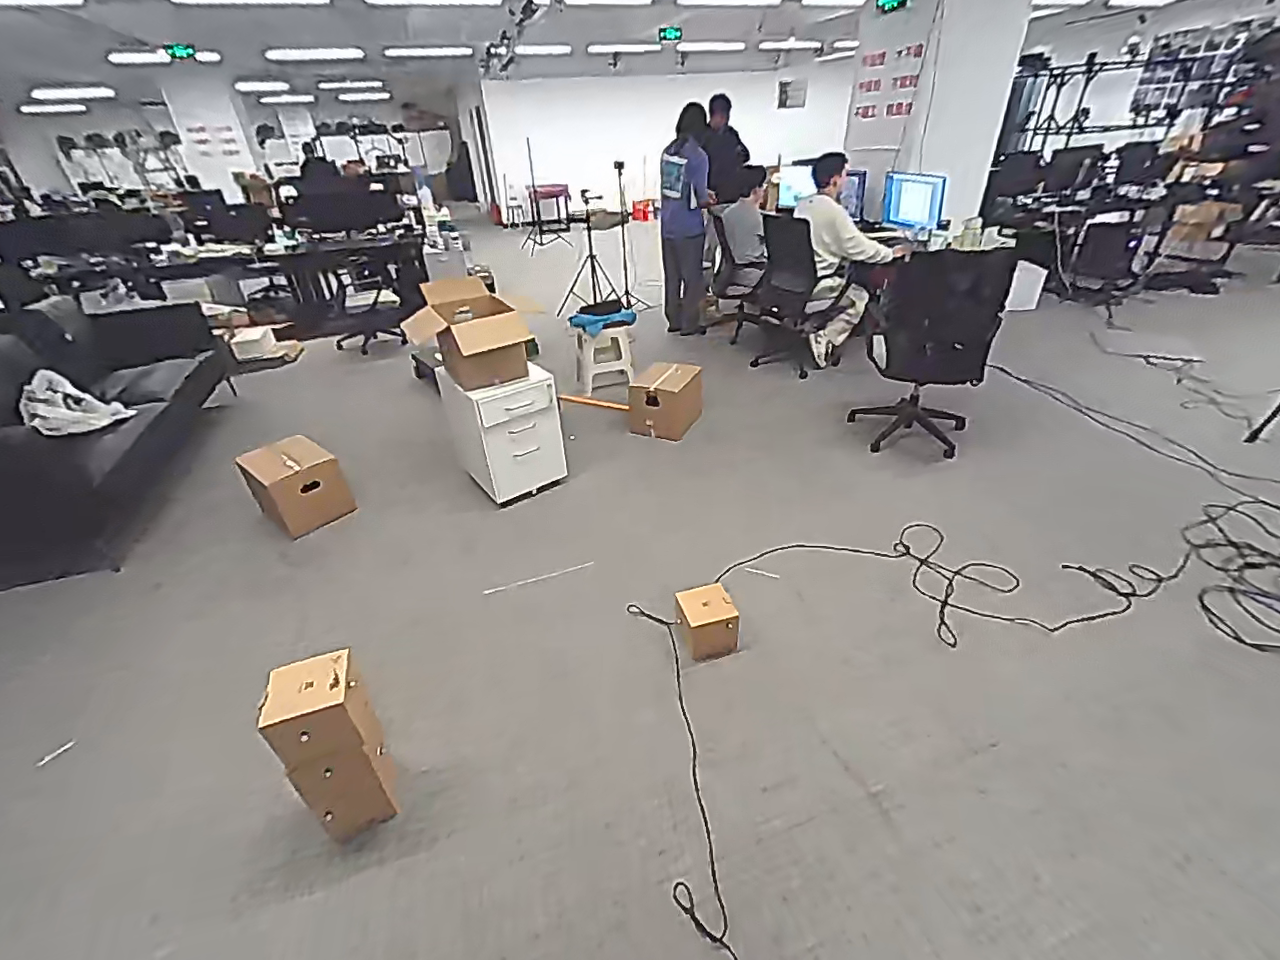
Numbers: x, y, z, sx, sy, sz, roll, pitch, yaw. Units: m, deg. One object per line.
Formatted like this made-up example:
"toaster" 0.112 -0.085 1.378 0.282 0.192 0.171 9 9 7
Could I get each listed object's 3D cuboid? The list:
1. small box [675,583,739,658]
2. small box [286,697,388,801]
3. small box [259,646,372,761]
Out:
"small box" 0.232 0.493 1.890 0.179 0.176 0.168 -11 33 -13
"small box" -0.767 0.683 1.386 0.179 0.176 0.168 -12 34 -16
"small box" -0.771 0.540 1.305 0.179 0.176 0.168 -14 35 -15
